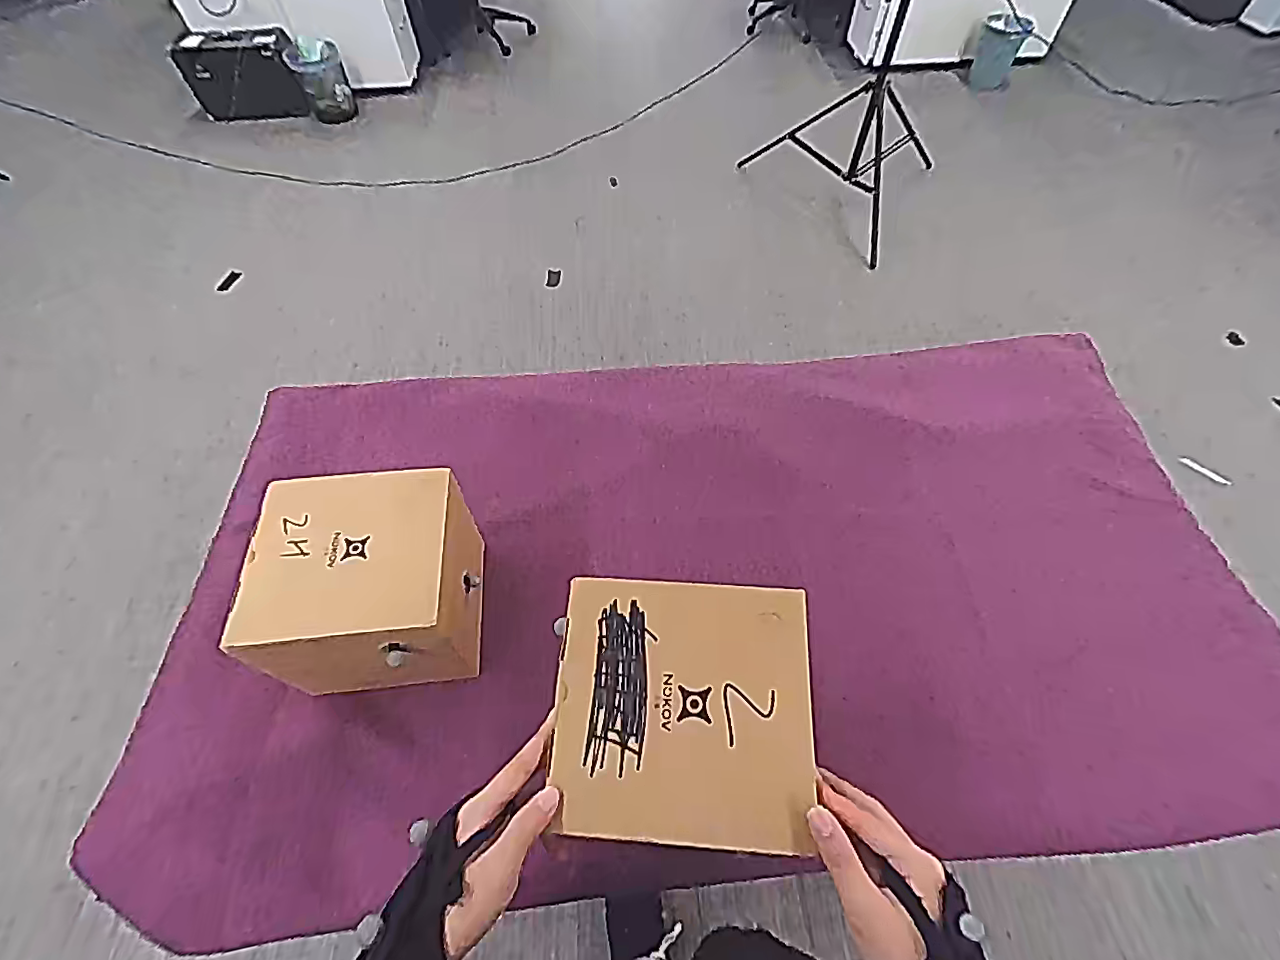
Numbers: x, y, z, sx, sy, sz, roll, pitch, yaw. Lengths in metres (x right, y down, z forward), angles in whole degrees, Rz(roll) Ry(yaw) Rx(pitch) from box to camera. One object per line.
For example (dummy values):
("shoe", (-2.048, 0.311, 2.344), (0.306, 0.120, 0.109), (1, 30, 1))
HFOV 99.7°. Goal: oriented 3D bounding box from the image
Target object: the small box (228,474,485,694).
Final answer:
("small box", (-0.264, 0.112, 0.561), (0.179, 0.176, 0.168), (-5, 55, -5))
